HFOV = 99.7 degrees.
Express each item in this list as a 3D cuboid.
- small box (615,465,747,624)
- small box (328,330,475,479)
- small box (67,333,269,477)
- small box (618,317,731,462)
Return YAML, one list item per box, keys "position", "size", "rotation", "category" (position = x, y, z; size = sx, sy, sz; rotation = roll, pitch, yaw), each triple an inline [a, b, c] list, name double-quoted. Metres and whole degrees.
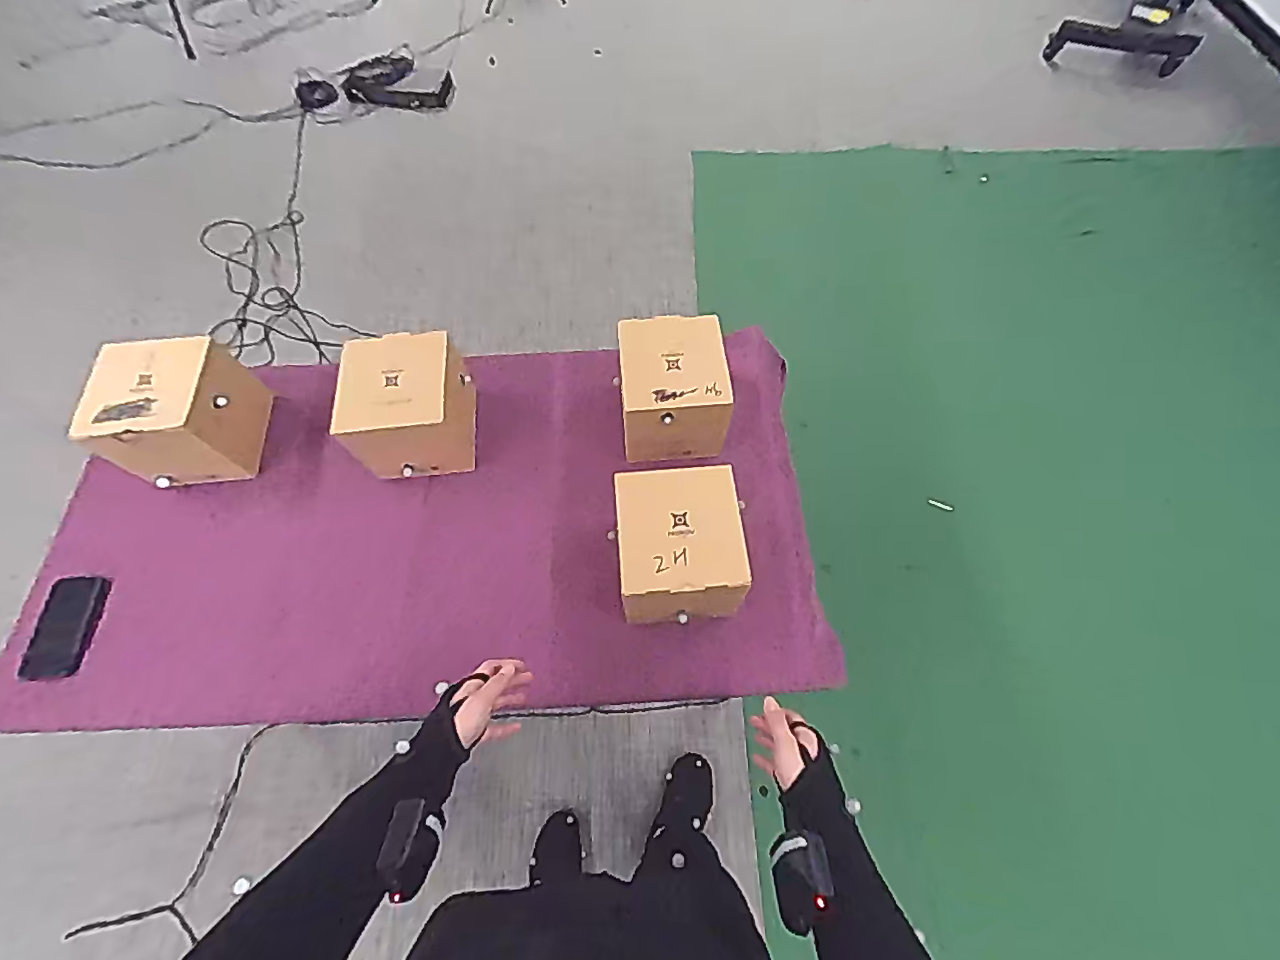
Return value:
- position: [0.050, 0.097, 0.783]
  size: [0.168, 0.176, 0.179]
  rotation: [-4, 61, 0]
  category: "small box"
- position: [-0.379, -0.121, 0.894]
  size: [0.168, 0.176, 0.179]
  rotation: [-6, 65, -2]
  category: "small box"
- position: [-0.750, -0.114, 0.886]
  size: [0.168, 0.176, 0.179]
  rotation: [-5, 63, -4]
  category: "small box"
- position: [0.050, -0.148, 0.909]
  size: [0.168, 0.176, 0.179]
  rotation: [-4, 64, -2]
  category: "small box"
